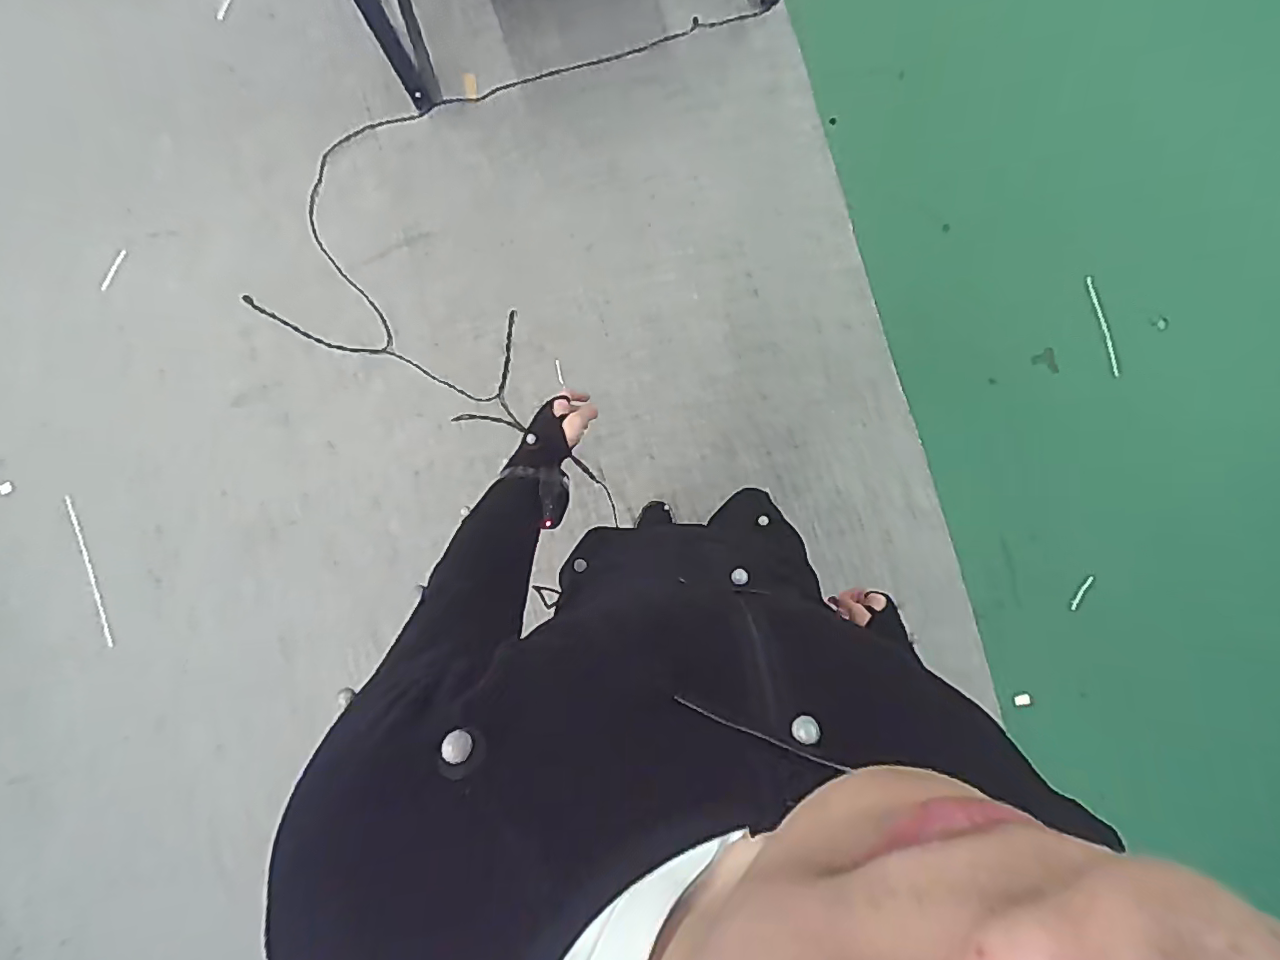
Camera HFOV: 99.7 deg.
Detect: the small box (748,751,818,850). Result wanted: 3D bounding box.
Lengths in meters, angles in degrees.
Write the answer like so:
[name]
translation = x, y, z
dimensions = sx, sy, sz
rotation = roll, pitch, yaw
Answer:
[small box]
translation = 0.409, 0.877, 1.496
dimensions = 0.168, 0.176, 0.179
rotation = -16, 89, 0
